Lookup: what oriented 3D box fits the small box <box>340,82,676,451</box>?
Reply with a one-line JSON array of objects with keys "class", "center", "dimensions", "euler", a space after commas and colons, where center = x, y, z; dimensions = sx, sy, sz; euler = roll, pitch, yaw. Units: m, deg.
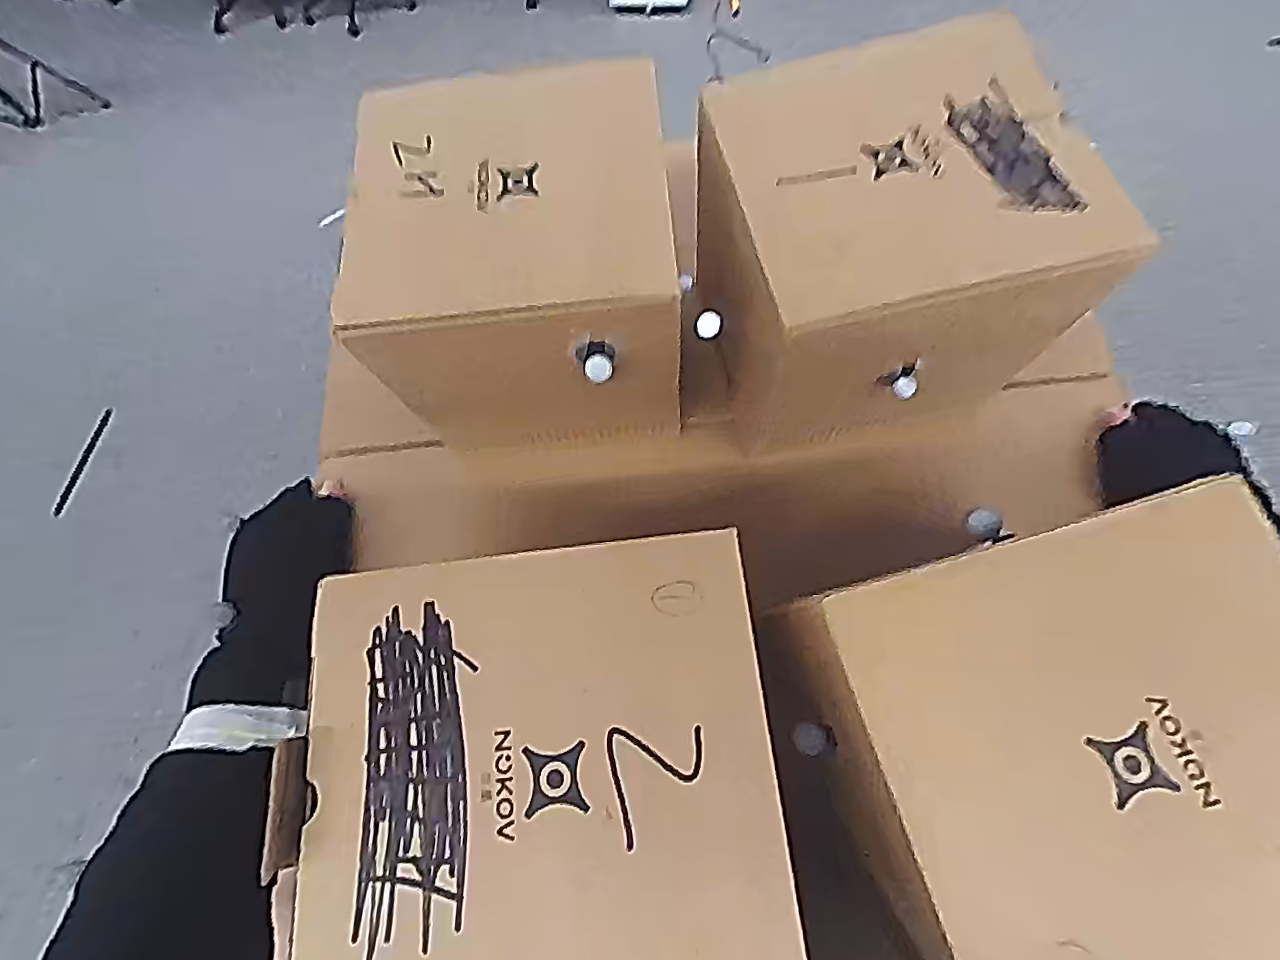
[{"class": "small box", "center": [-0.067, -0.129, 0.376], "dimensions": [0.179, 0.176, 0.168], "euler": [-4, 70, 3]}]
